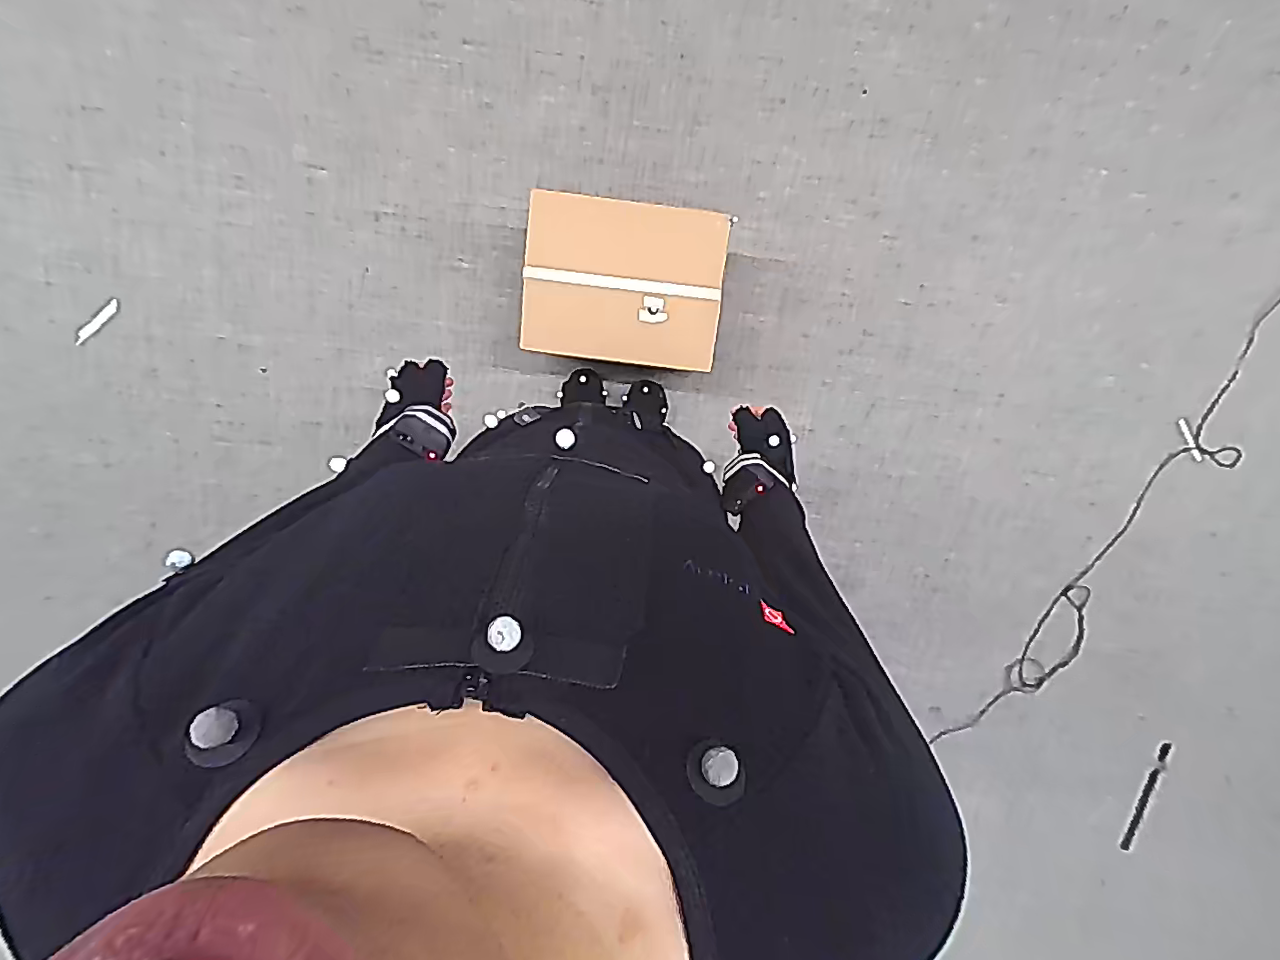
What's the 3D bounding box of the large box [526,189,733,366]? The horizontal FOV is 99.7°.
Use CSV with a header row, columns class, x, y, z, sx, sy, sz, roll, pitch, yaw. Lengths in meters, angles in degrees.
class,x,y,z,sx,sy,sz,roll,pitch,yaw
large box,-0.031,-0.437,1.244,0.408,0.320,0.320,6,103,-2
